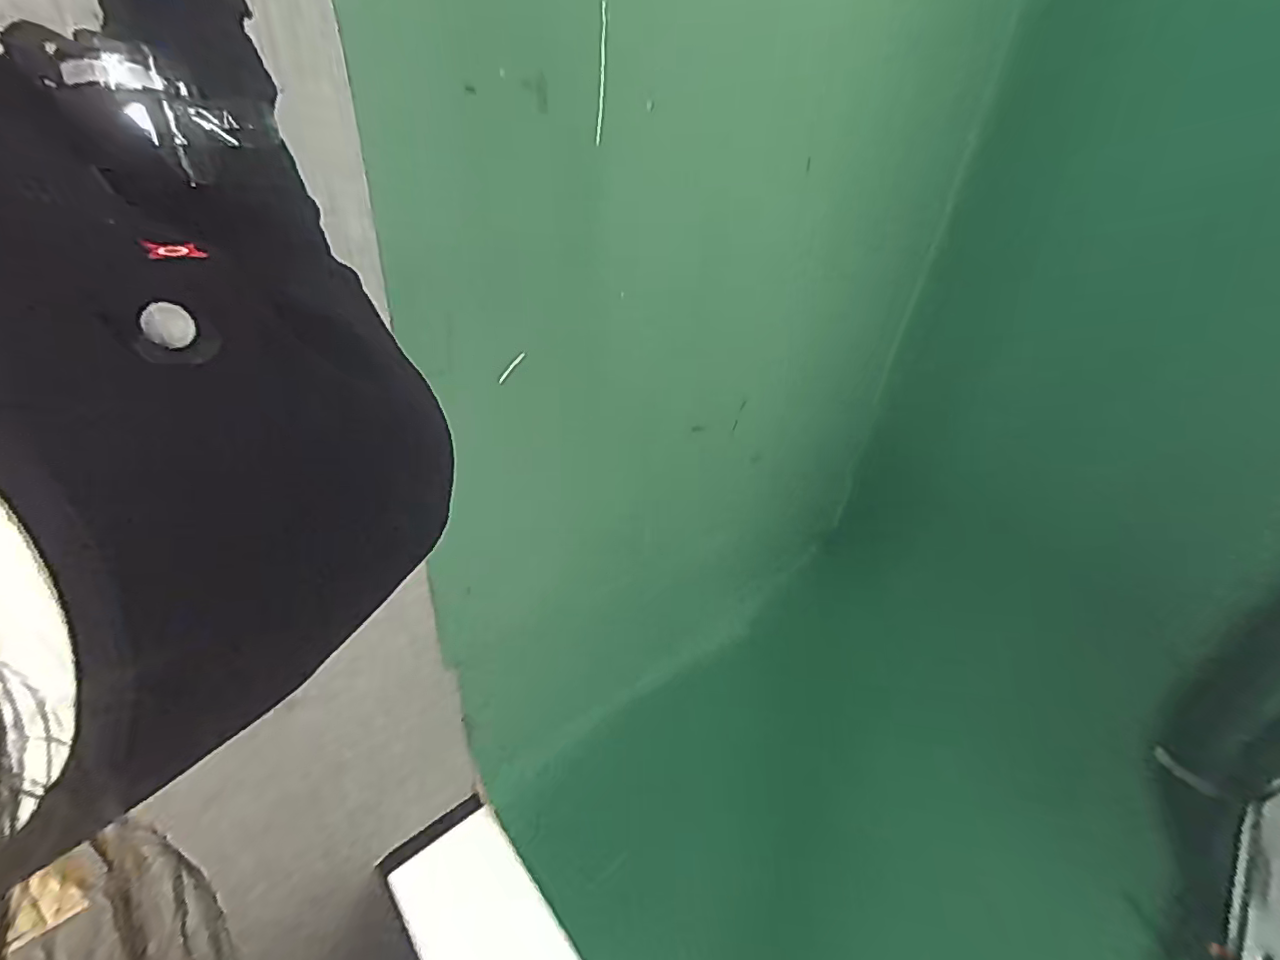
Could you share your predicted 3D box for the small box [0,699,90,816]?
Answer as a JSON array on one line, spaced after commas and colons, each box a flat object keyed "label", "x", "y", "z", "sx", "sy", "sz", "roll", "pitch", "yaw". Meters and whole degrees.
[{"label": "small box", "x": -1.094, "y": 0.519, "z": 0.922, "sx": 0.179, "sy": 0.176, "sz": 0.168, "roll": -24, "pitch": 132, "yaw": -36}]

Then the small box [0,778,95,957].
[{"label": "small box", "x": -0.988, "y": 0.598, "z": 0.826, "sx": 0.168, "sy": 0.176, "sz": 0.179, "roll": -25, "pitch": 132, "yaw": -35}]
